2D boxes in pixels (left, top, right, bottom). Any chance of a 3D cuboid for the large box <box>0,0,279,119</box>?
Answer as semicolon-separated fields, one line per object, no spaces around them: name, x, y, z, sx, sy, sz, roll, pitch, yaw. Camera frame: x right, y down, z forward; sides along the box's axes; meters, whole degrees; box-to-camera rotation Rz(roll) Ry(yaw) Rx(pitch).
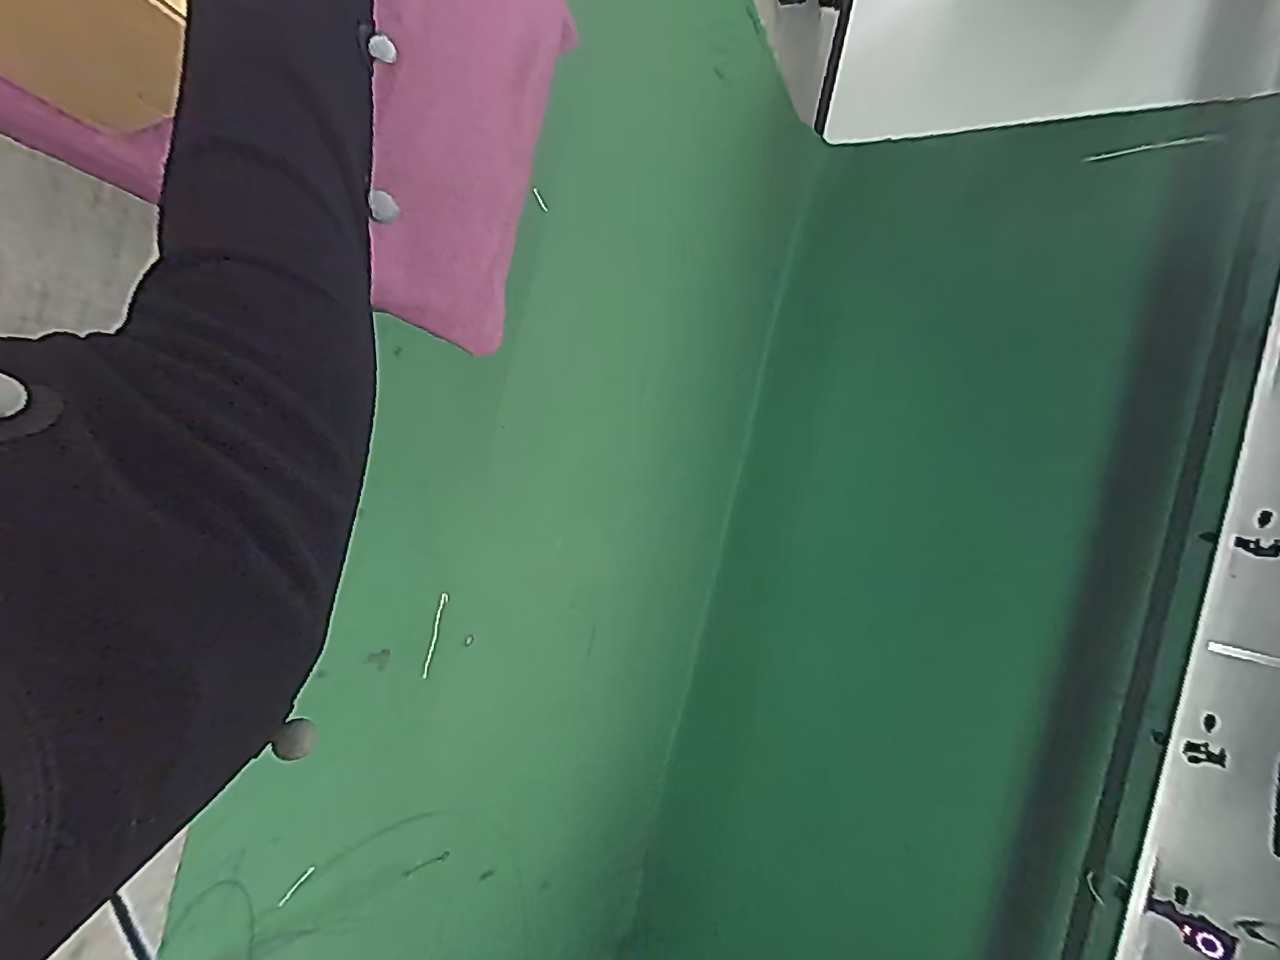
large box;-0.435;-0.546;0.351;0.320;0.320;0.408;19;85;-59
